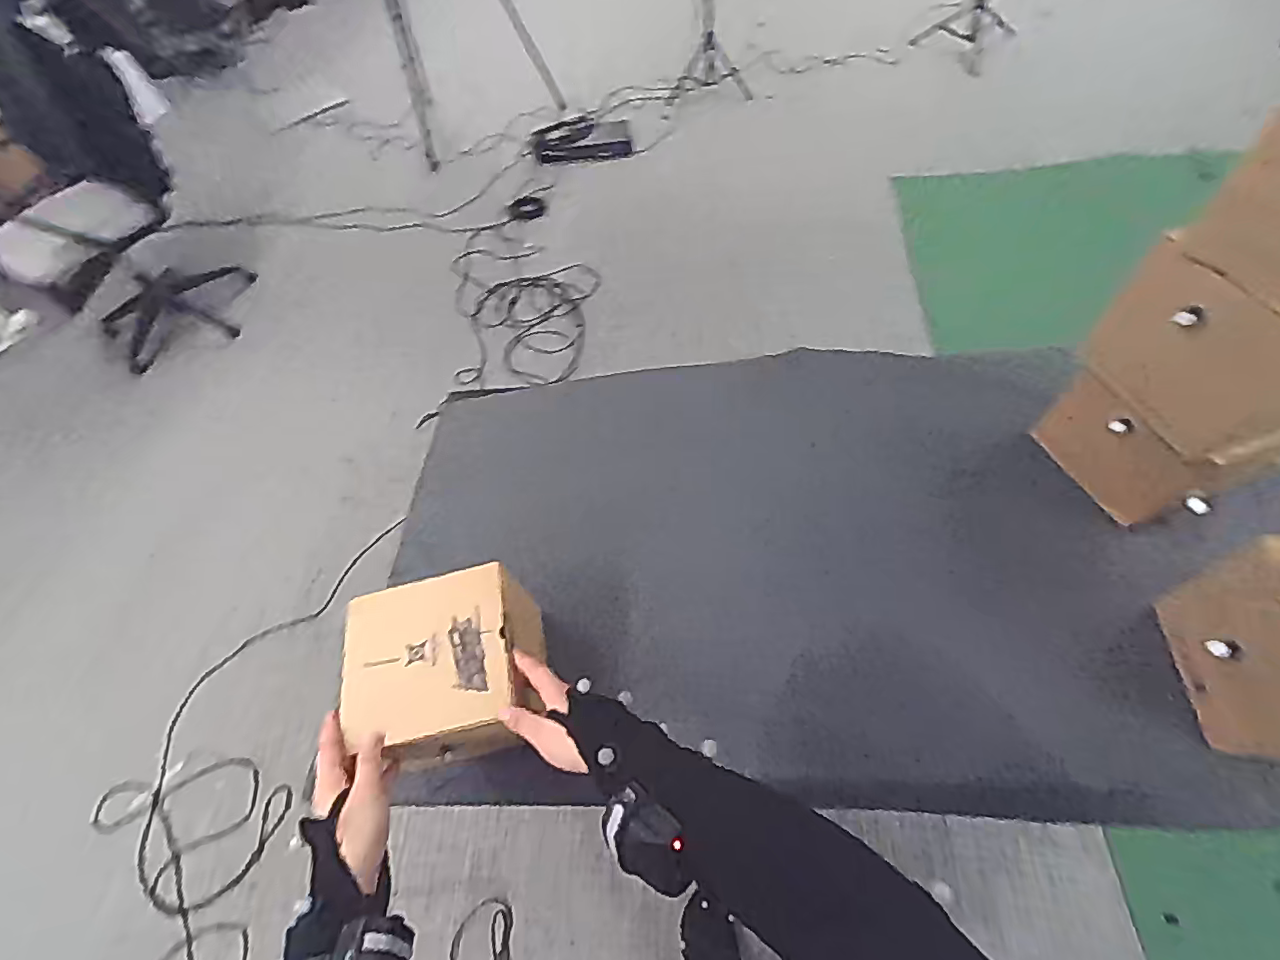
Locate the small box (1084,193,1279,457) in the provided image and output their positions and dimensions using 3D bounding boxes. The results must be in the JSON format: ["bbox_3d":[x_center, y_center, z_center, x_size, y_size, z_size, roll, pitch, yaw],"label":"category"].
[{"bbox_3d":[0.612,-0.154,0.542,0.168,0.176,0.179,-19,58,1],"label":"small box"}]

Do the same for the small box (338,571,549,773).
[{"bbox_3d":[-0.211,0.227,0.625,0.179,0.176,0.168,-15,58,0],"label":"small box"}]

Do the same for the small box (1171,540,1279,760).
[{"bbox_3d":[0.675,0.173,0.520,0.179,0.176,0.168,2,56,11],"label":"small box"}]

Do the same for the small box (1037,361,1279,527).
[{"bbox_3d":[0.658,-0.070,0.679,0.168,0.176,0.179,-22,60,-2],"label":"small box"}]
